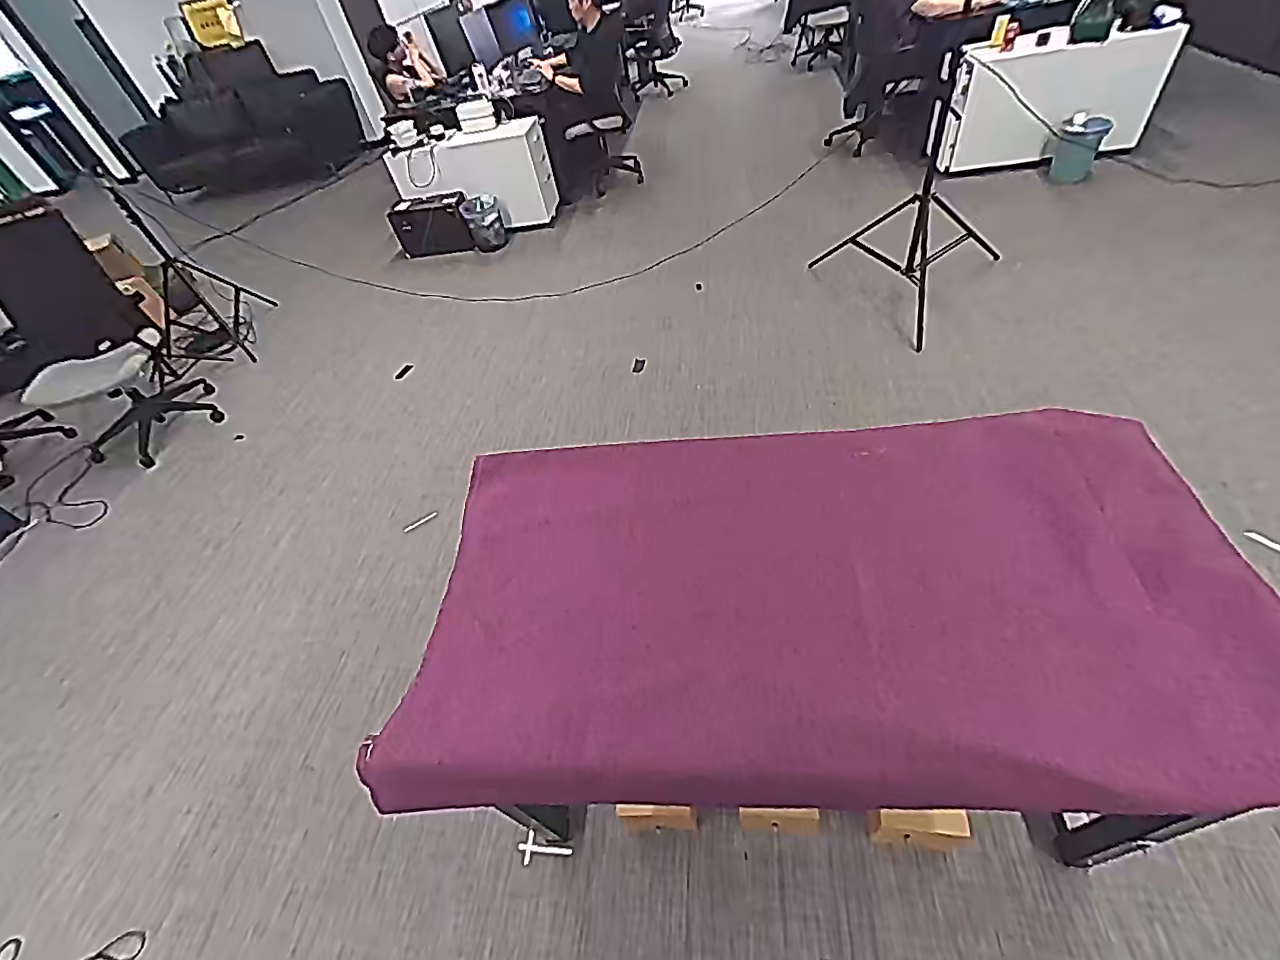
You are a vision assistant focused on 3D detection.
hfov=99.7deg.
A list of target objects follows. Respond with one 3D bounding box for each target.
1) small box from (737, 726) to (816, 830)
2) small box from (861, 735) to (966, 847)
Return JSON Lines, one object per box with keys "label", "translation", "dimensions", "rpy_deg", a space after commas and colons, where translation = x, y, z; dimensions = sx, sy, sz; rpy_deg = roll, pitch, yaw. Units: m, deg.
{"label": "small box", "translation": [0.312, 0.694, 1.258], "dimensions": [0.168, 0.176, 0.179], "rpy_deg": [-1, 47, 11]}
{"label": "small box", "translation": [0.596, 0.692, 1.201], "dimensions": [0.168, 0.176, 0.179], "rpy_deg": [0, 47, 13]}
